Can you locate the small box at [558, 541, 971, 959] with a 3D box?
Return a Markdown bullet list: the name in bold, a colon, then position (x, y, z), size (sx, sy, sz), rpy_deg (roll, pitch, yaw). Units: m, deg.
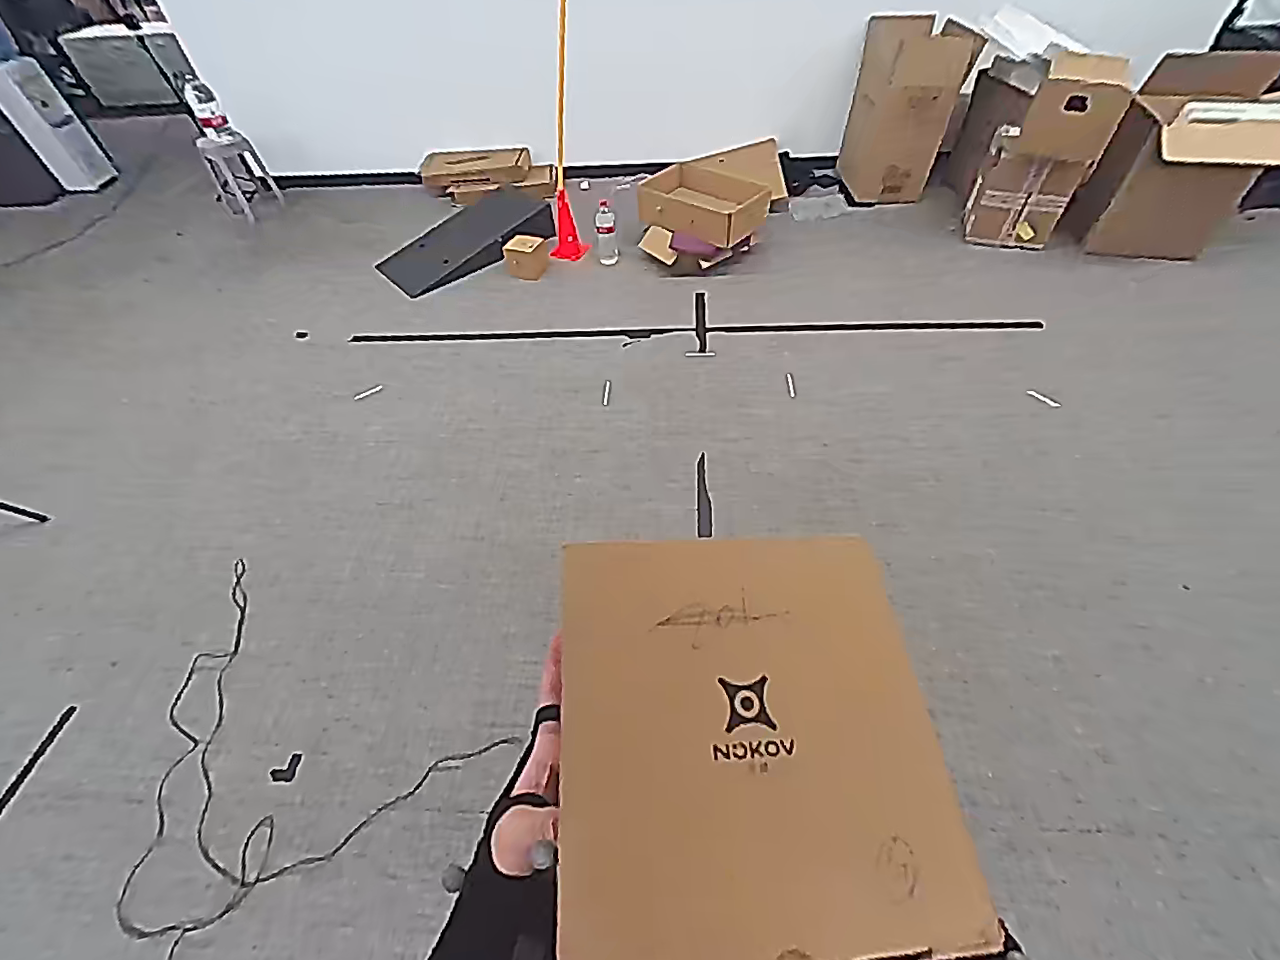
- **small box**: position (0.038, 0.153, 0.316), size (0.168, 0.176, 0.179), rpy_deg (-1, 55, -8)
